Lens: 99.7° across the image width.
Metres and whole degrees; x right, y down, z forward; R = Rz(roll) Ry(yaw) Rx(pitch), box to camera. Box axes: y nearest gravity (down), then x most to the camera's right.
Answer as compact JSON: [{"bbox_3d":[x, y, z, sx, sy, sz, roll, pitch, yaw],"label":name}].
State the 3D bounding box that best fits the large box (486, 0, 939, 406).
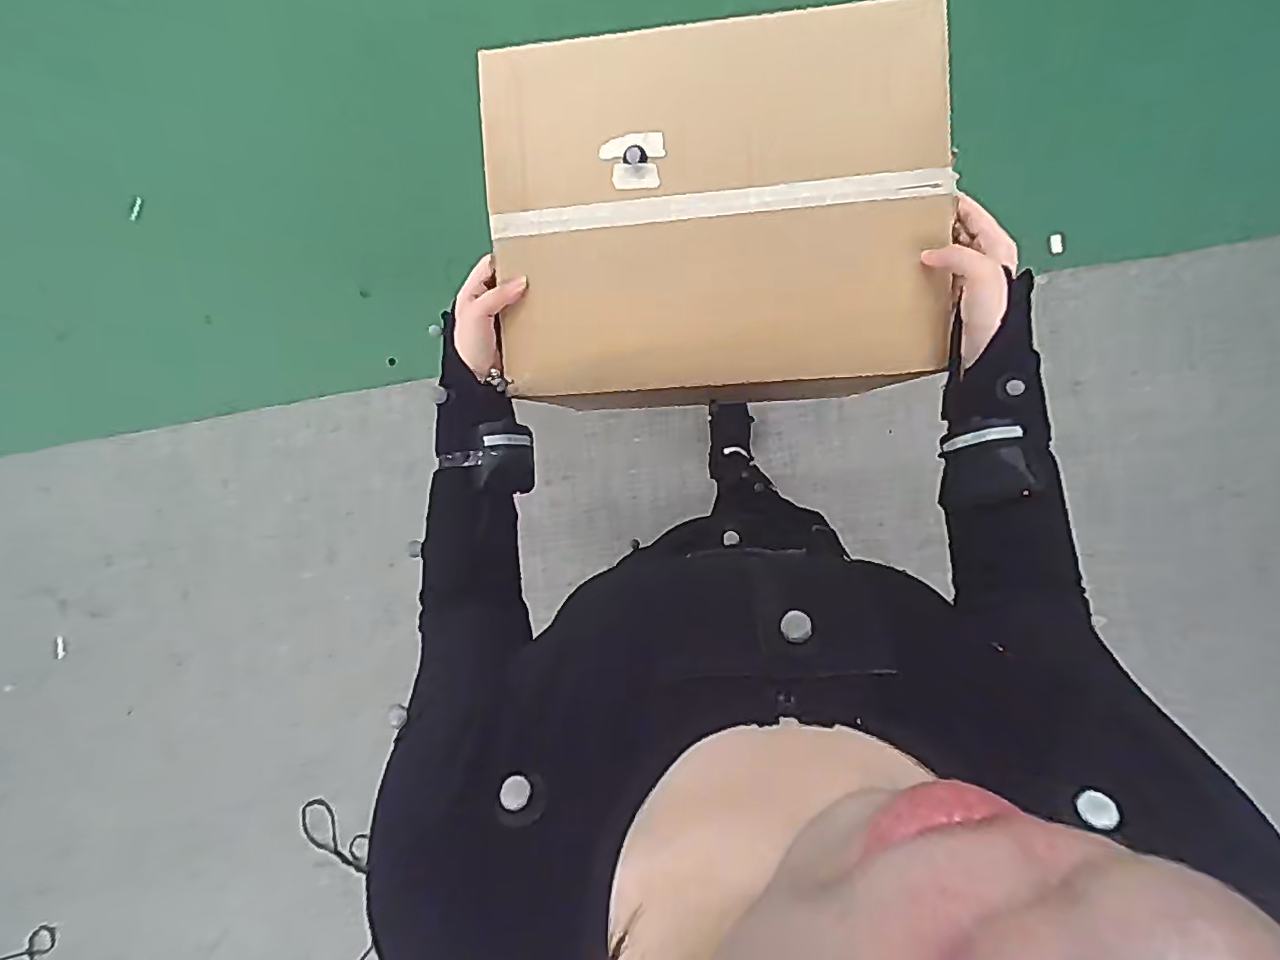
[{"bbox_3d":[0.080,-0.261,0.643,0.408,0.320,0.320,-3,94,7],"label":"large box"}]
